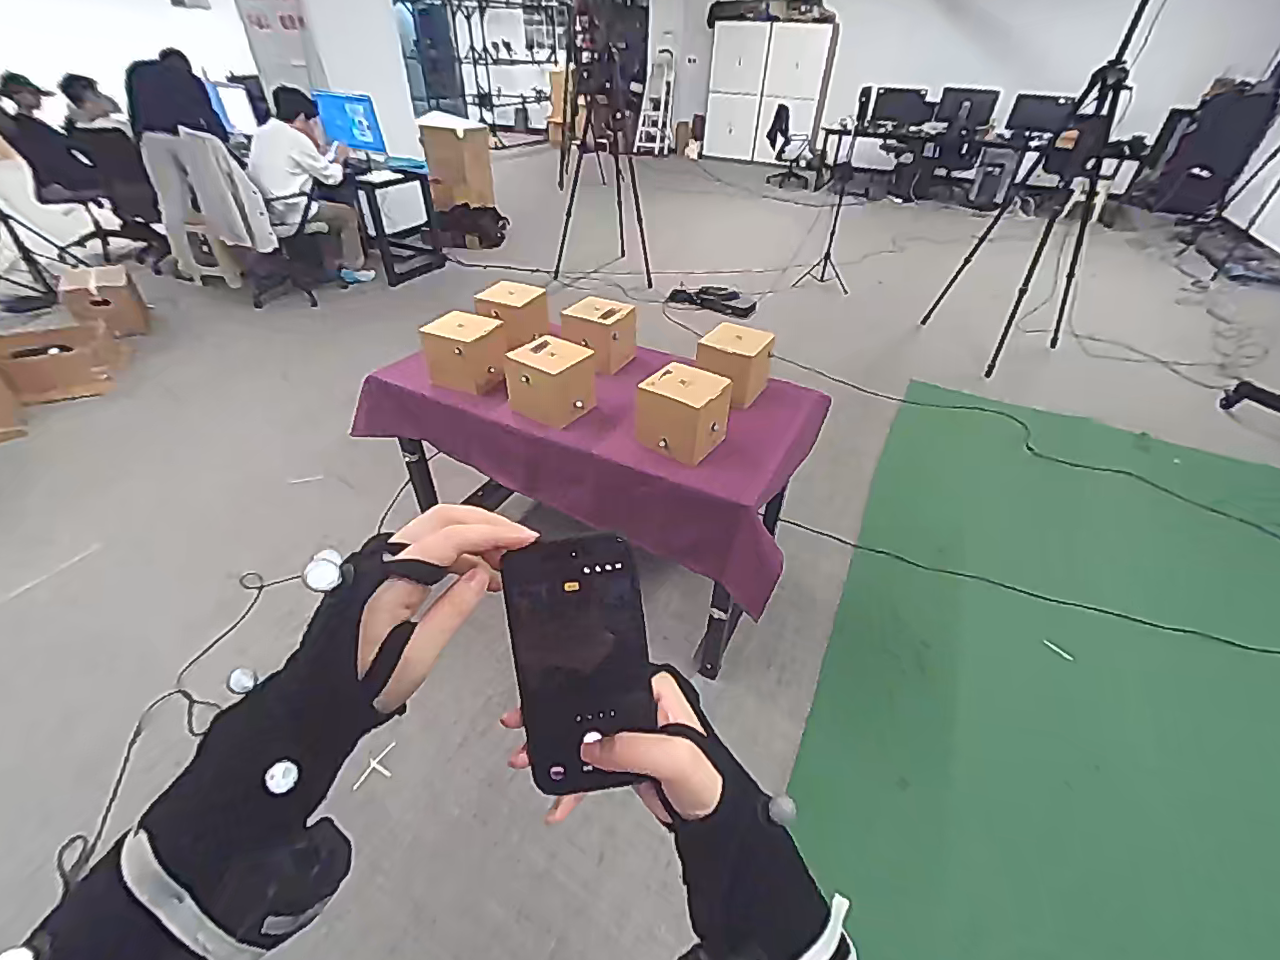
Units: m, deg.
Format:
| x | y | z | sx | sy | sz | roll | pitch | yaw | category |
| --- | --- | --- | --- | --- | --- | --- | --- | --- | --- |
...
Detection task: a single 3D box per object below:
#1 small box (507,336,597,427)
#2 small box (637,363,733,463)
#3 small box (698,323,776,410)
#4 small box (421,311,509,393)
| x | y | z | sx | sy | sz | roll | pitch | yaw | category |
| --- | --- | --- | --- | --- | --- | --- | --- | --- | --- |
| -0.233 | -0.264 | 1.453 | 0.179 | 0.176 | 0.168 | 25 | 44 | 24 | small box |
| 0.108 | -0.164 | 1.346 | 0.179 | 0.176 | 0.168 | 25 | 44 | 26 | small box |
| 0.271 | -0.327 | 1.558 | 0.168 | 0.176 | 0.179 | 22 | 43 | 24 | small box |
| -0.502 | -0.371 | 1.573 | 0.179 | 0.176 | 0.168 | 17 | 40 | 15 | small box |
